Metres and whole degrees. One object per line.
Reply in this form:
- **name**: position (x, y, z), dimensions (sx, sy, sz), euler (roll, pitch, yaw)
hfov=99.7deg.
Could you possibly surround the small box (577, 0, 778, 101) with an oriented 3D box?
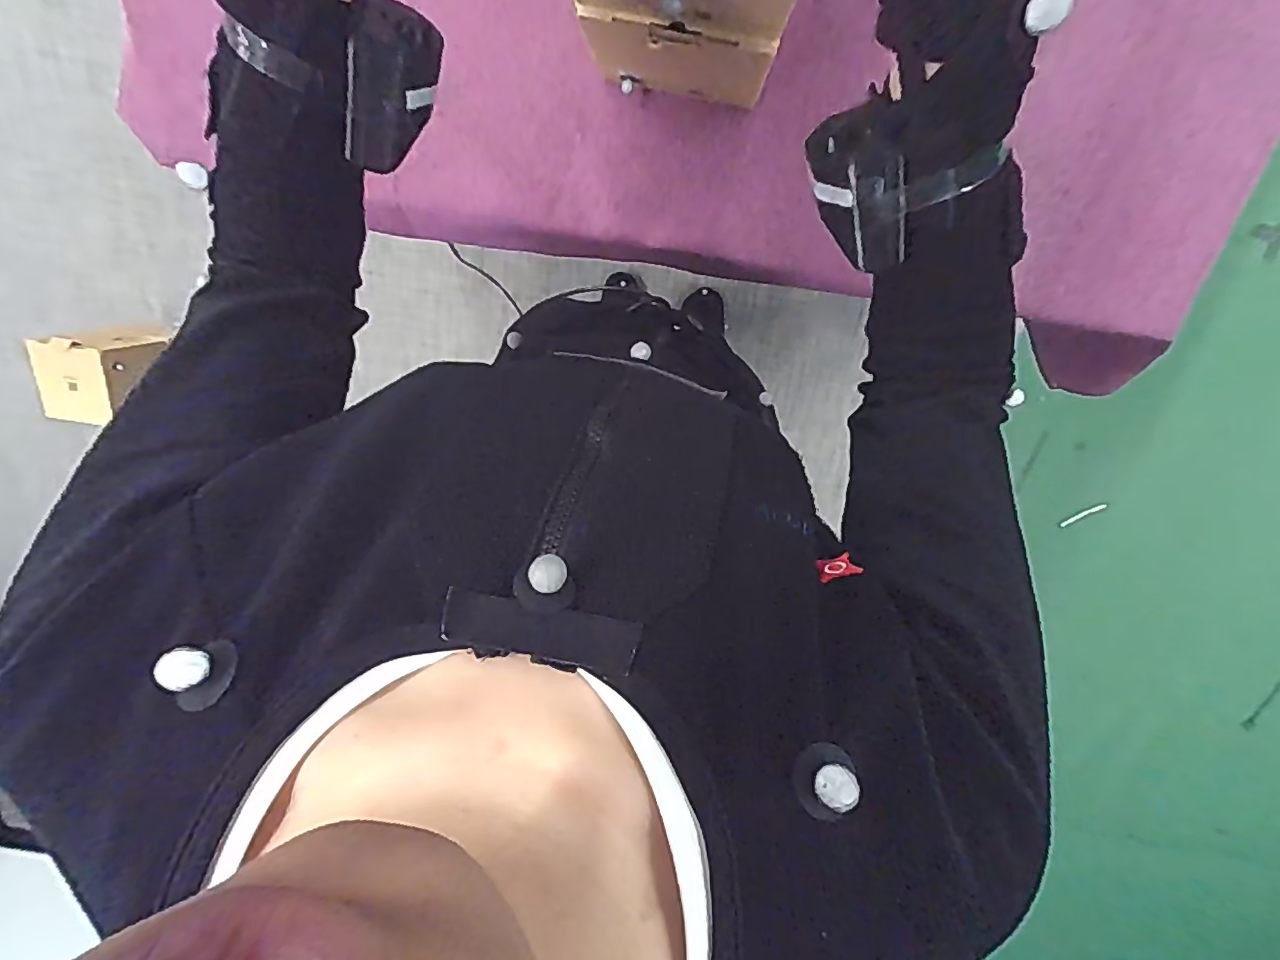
- **small box**: position (0.051, -0.466, 0.475), dimensions (0.168, 0.176, 0.179), euler (11, 111, 0)

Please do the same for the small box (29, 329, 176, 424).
- **small box**: position (-1.241, -0.247, 1.268), dimensions (0.168, 0.176, 0.179), euler (8, 111, 1)

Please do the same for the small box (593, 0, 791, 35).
- **small box**: position (0.039, -0.414, 0.320), dimensions (0.168, 0.176, 0.179), euler (11, 112, 0)
